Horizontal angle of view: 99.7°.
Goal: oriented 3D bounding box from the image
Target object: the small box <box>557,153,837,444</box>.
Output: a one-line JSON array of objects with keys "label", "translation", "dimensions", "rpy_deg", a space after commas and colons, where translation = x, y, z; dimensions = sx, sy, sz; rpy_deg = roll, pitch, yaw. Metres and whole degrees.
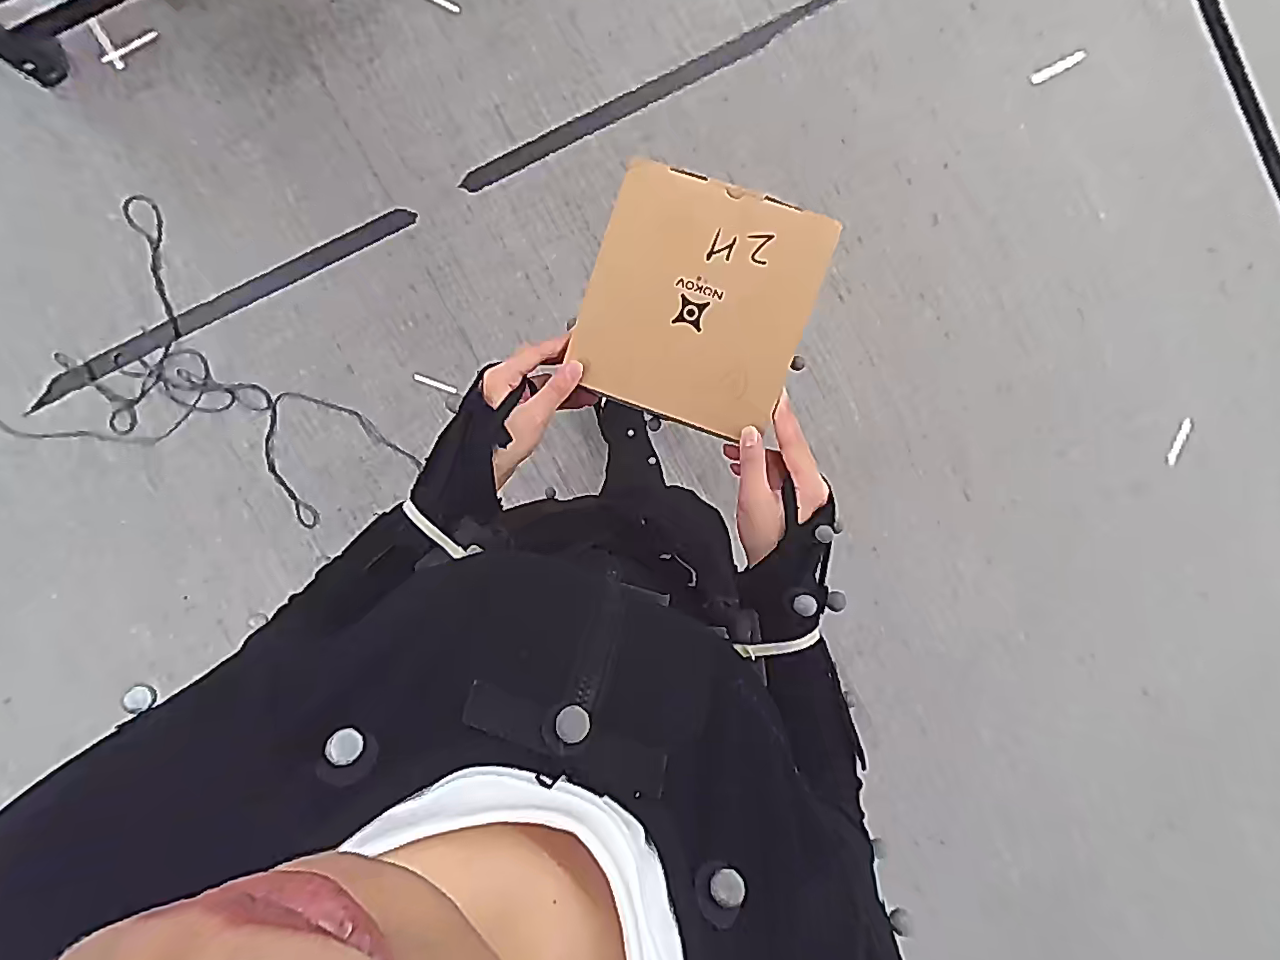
[{"label": "small box", "translation": [0.047, -0.139, 0.479], "dimensions": [0.168, 0.176, 0.179], "rpy_deg": [19, 95, 4]}]
